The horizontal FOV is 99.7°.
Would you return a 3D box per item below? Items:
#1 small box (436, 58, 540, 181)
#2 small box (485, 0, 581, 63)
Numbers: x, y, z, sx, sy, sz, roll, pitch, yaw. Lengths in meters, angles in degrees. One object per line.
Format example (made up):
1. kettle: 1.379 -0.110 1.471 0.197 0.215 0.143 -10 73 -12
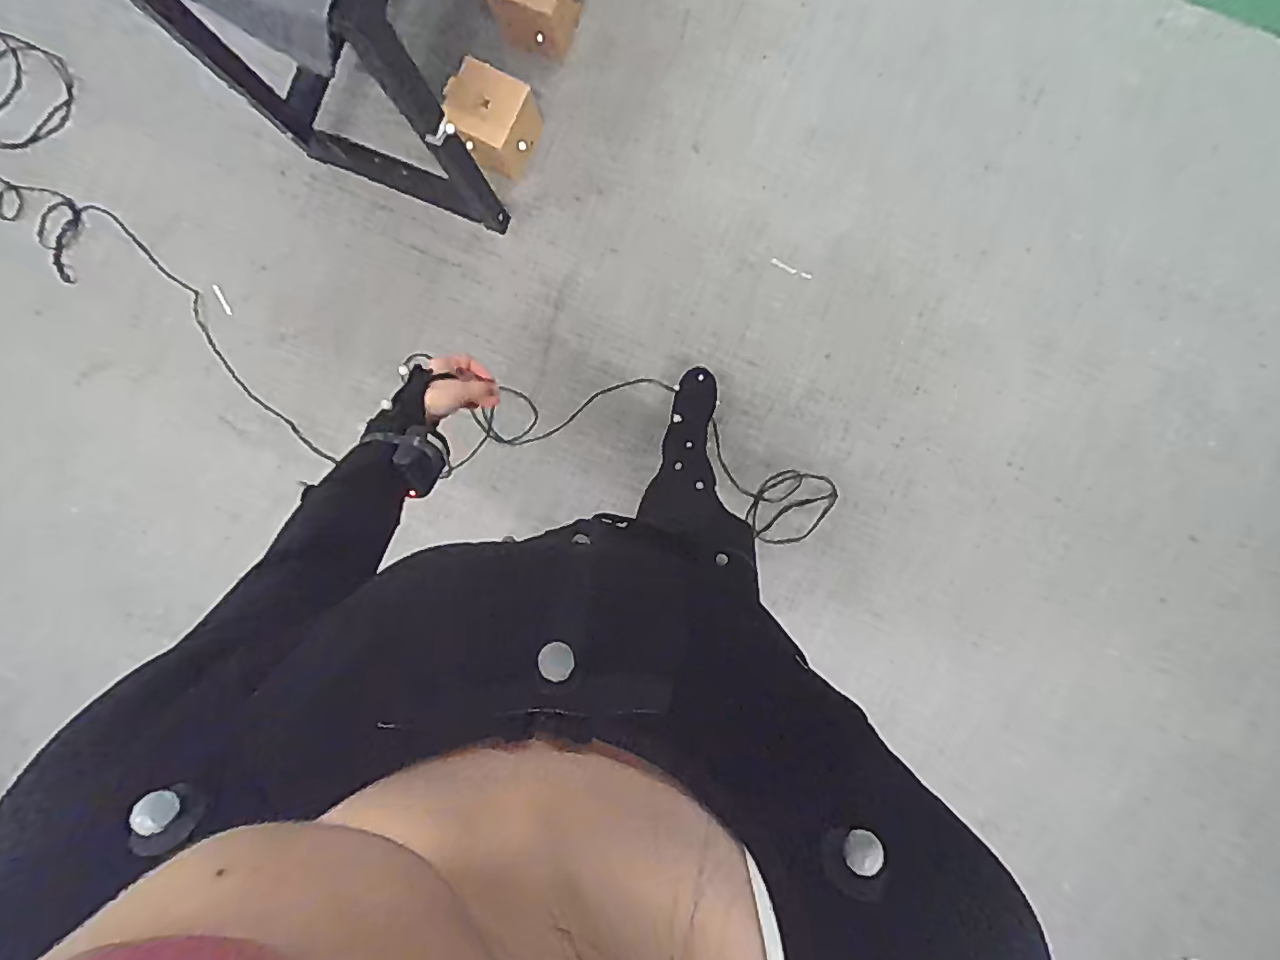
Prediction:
1. small box: -0.371 -0.892 1.360 0.179 0.176 0.168 27 93 1
2. small box: -0.259 -1.190 1.344 0.179 0.176 0.168 21 92 2
